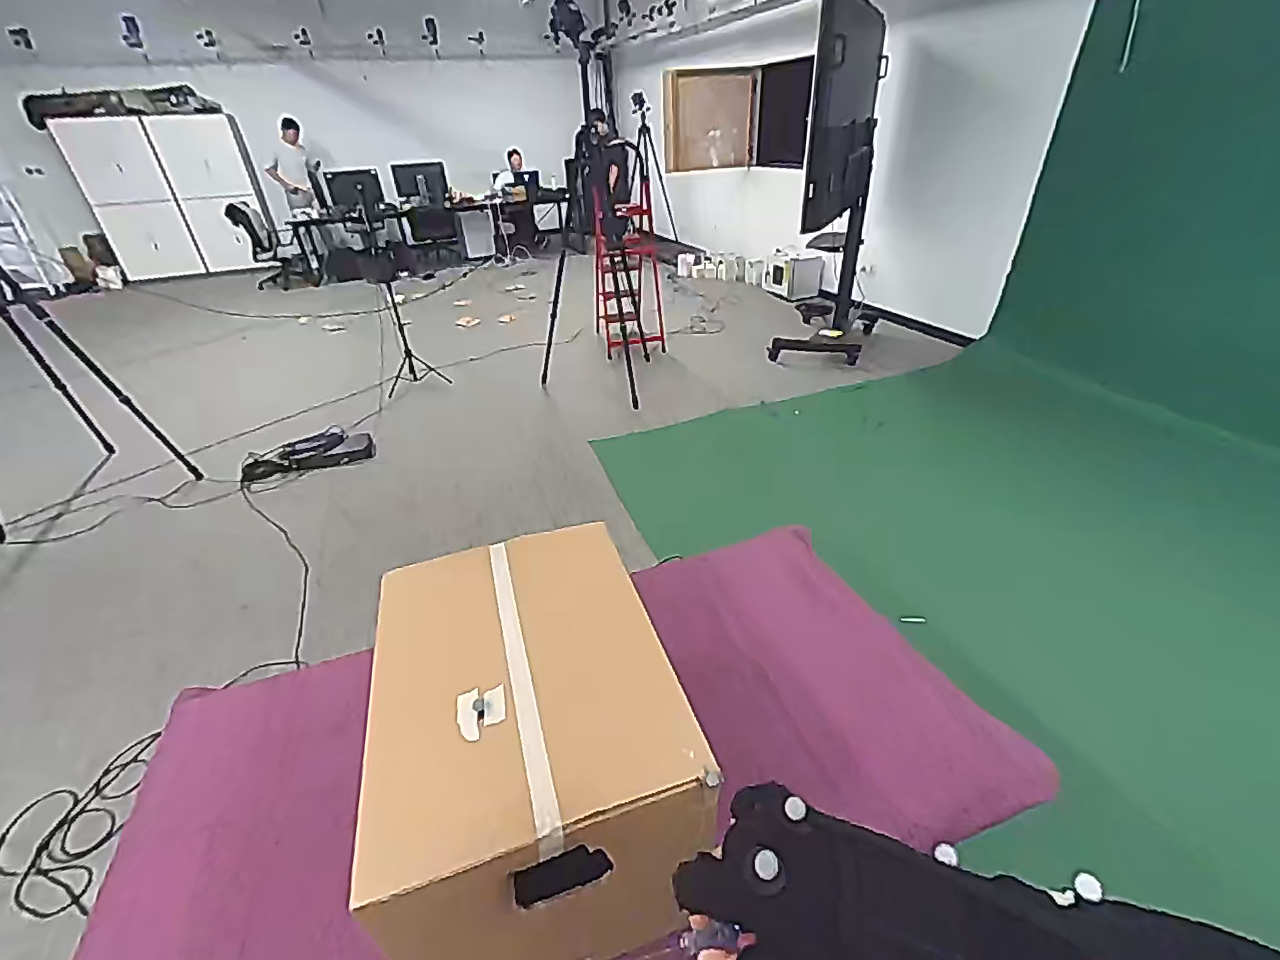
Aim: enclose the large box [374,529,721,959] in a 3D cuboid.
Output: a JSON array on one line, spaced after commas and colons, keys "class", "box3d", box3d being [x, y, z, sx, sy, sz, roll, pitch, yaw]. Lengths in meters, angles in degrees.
[{"class": "large box", "box3d": [-0.129, 0.325, 0.703, 0.320, 0.320, 0.408, -12, 35, -14]}]
